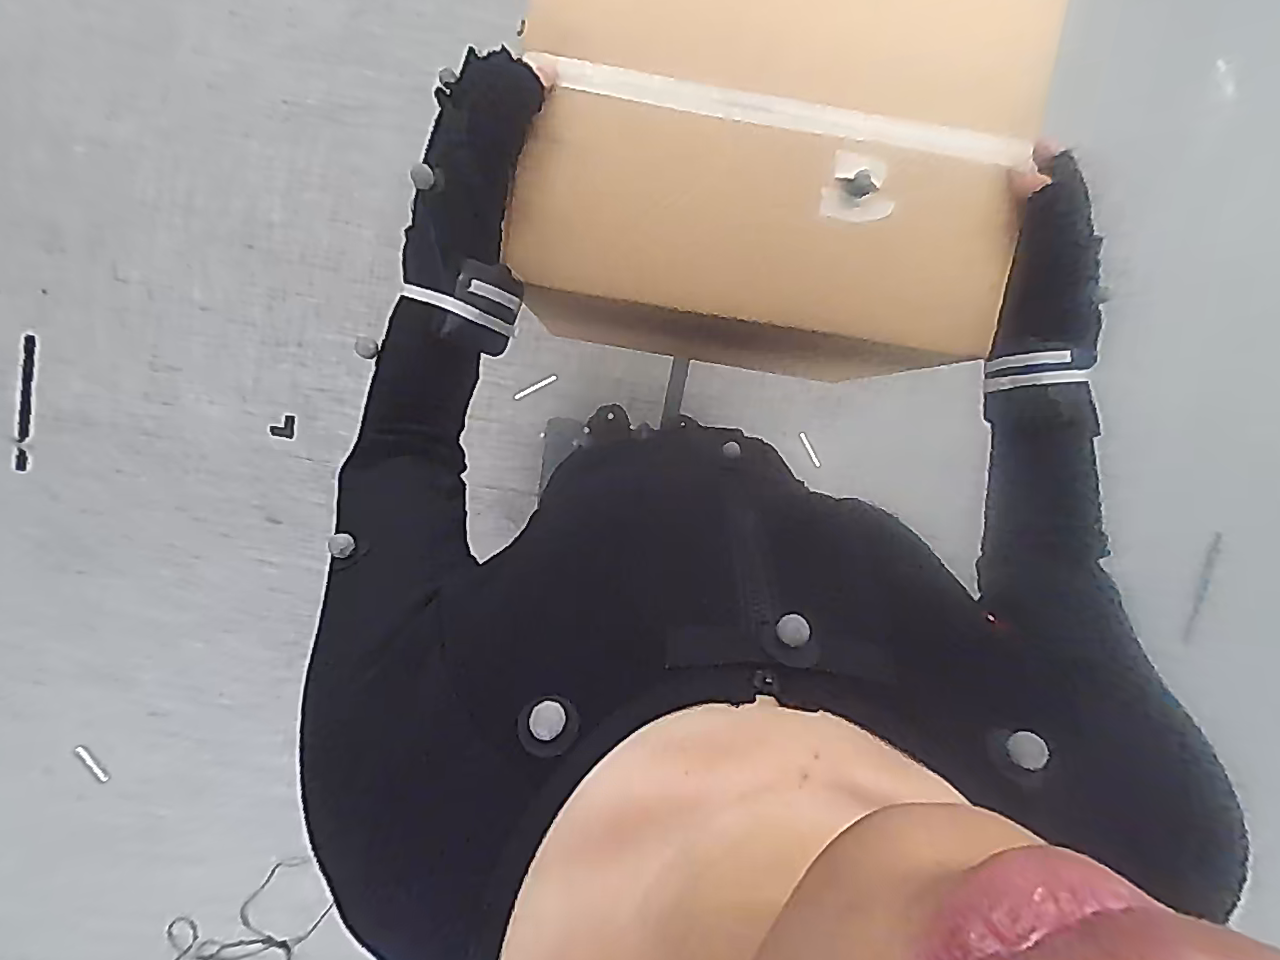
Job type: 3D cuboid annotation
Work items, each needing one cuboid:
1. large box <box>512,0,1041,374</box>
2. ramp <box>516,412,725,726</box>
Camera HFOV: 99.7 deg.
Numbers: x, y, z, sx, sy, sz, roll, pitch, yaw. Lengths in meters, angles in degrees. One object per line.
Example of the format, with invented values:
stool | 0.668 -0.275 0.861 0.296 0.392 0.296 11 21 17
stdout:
large box | 0.102 -0.307 0.583 0.408 0.320 0.320 8 97 -3
ramp | -0.083 0.314 1.625 0.509 0.206 0.991 7 98 -4
